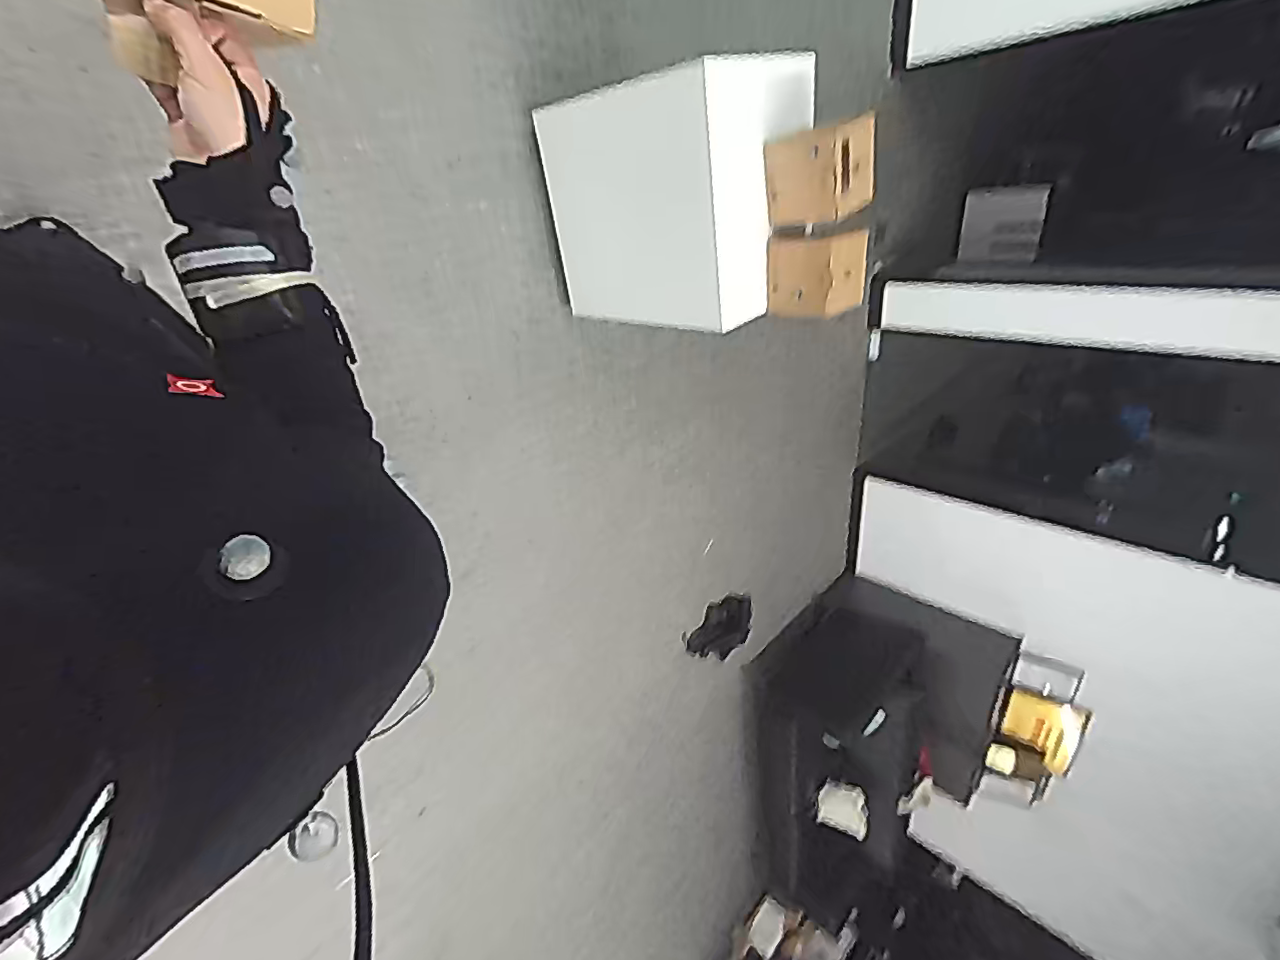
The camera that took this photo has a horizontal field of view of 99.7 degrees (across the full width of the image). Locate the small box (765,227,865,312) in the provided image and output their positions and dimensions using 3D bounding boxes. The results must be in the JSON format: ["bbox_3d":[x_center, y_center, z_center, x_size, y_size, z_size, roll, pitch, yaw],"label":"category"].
[{"bbox_3d":[0.416,-0.508,1.303,0.179,0.176,0.168,-30,126,-37],"label":"small box"}]

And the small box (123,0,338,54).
[{"bbox_3d":[-0.296,-0.396,0.328,0.168,0.176,0.179,-8,124,-43],"label":"small box"}]
